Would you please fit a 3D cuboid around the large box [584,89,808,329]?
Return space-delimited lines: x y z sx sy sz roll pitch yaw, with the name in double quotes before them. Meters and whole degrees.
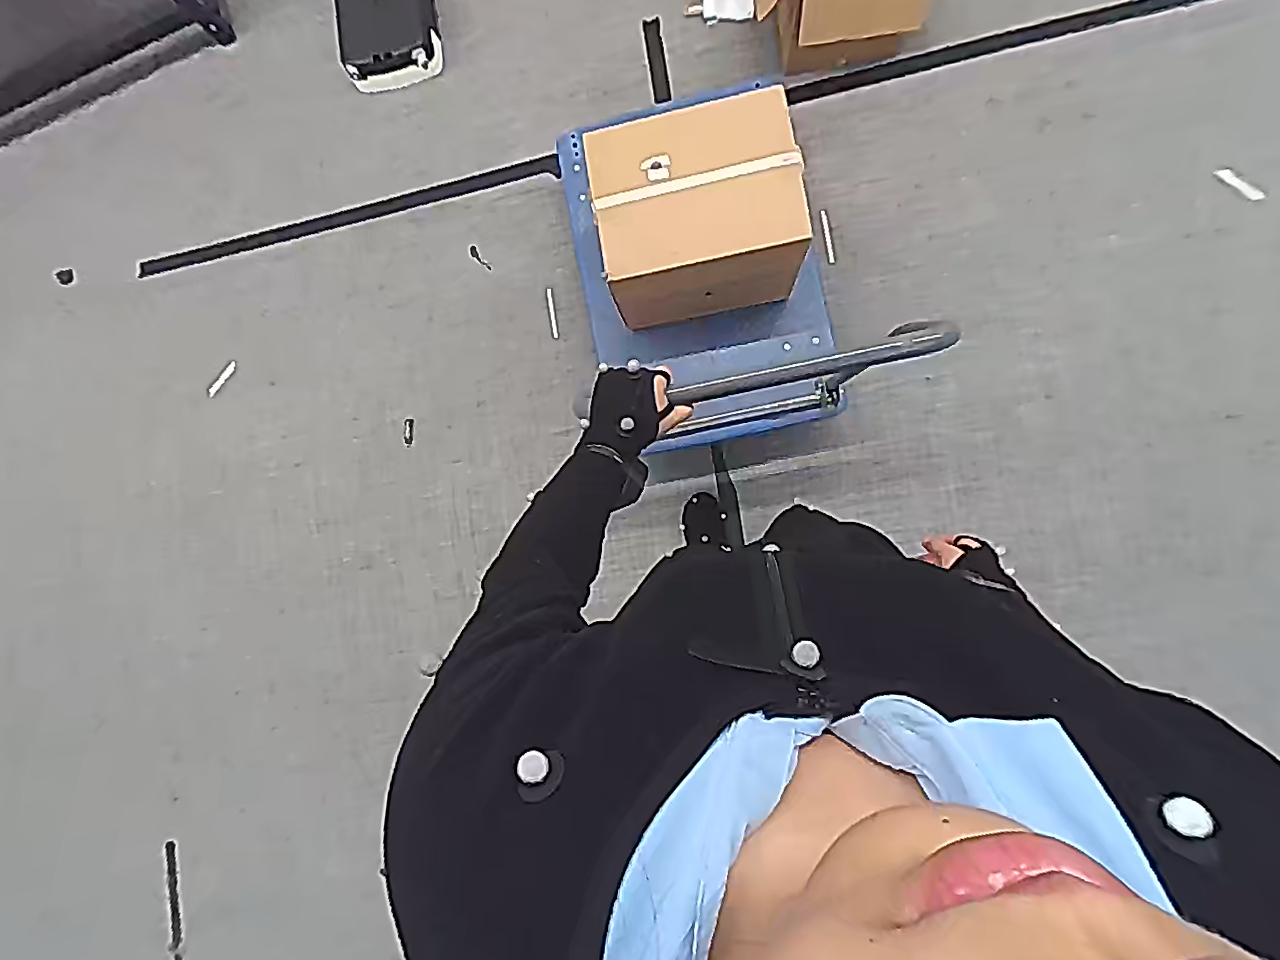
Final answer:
"large box" 0.126 -0.573 1.216 0.408 0.320 0.320 -10 85 8
